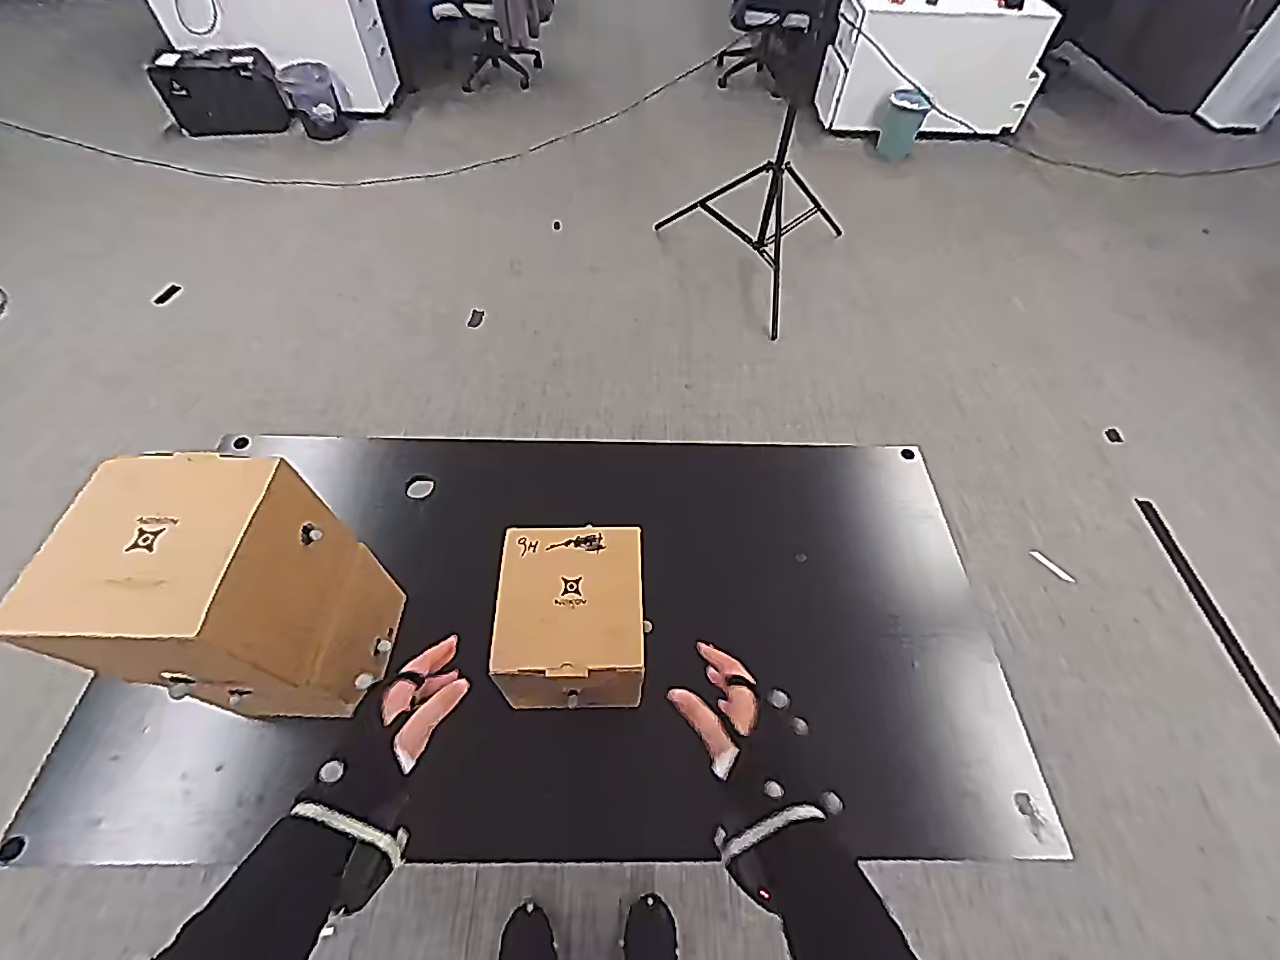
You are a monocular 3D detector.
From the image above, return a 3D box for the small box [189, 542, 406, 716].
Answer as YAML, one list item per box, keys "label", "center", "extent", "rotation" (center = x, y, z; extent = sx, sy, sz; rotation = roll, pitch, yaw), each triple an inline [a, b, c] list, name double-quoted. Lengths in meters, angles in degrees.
- label: "small box"
  center: [-0.419, 0.185, 0.666]
  extent: [0.179, 0.176, 0.168]
  rotation: [2, 55, -2]

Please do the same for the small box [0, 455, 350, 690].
- label: "small box"
  center: [-0.416, 0.094, 0.531]
  extent: [0.168, 0.176, 0.179]
  rotation: [0, 56, 0]

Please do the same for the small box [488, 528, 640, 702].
- label: "small box"
  center: [-0.083, 0.177, 0.686]
  extent: [0.168, 0.176, 0.179]
  rotation: [0, 55, -2]
